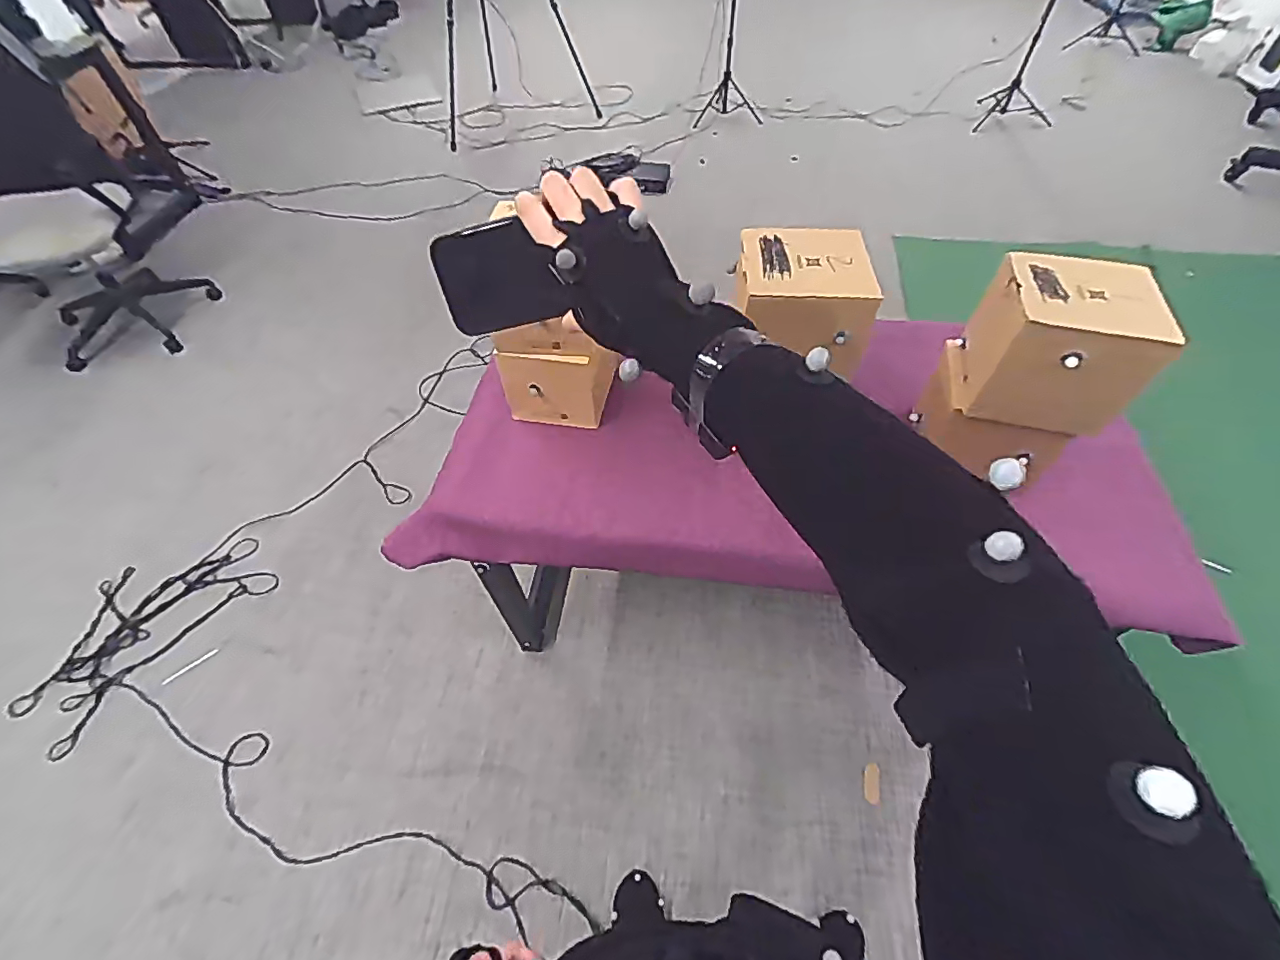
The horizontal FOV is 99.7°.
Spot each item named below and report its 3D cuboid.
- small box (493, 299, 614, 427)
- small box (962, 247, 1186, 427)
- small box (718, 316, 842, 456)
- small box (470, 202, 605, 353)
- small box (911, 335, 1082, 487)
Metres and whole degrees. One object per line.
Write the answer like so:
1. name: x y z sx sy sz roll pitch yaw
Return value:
1. small box: -0.146 -0.217 0.997 0.168 0.176 0.179 7 53 8
2. small box: 0.569 -0.194 0.746 0.179 0.176 0.168 11 54 10
3. small box: 0.235 -0.158 0.936 0.179 0.176 0.168 6 53 7
4. small box: -0.151 -0.323 0.871 0.168 0.176 0.179 3 54 4
5. small box: 0.568 -0.109 0.887 0.179 0.176 0.168 11 54 11
